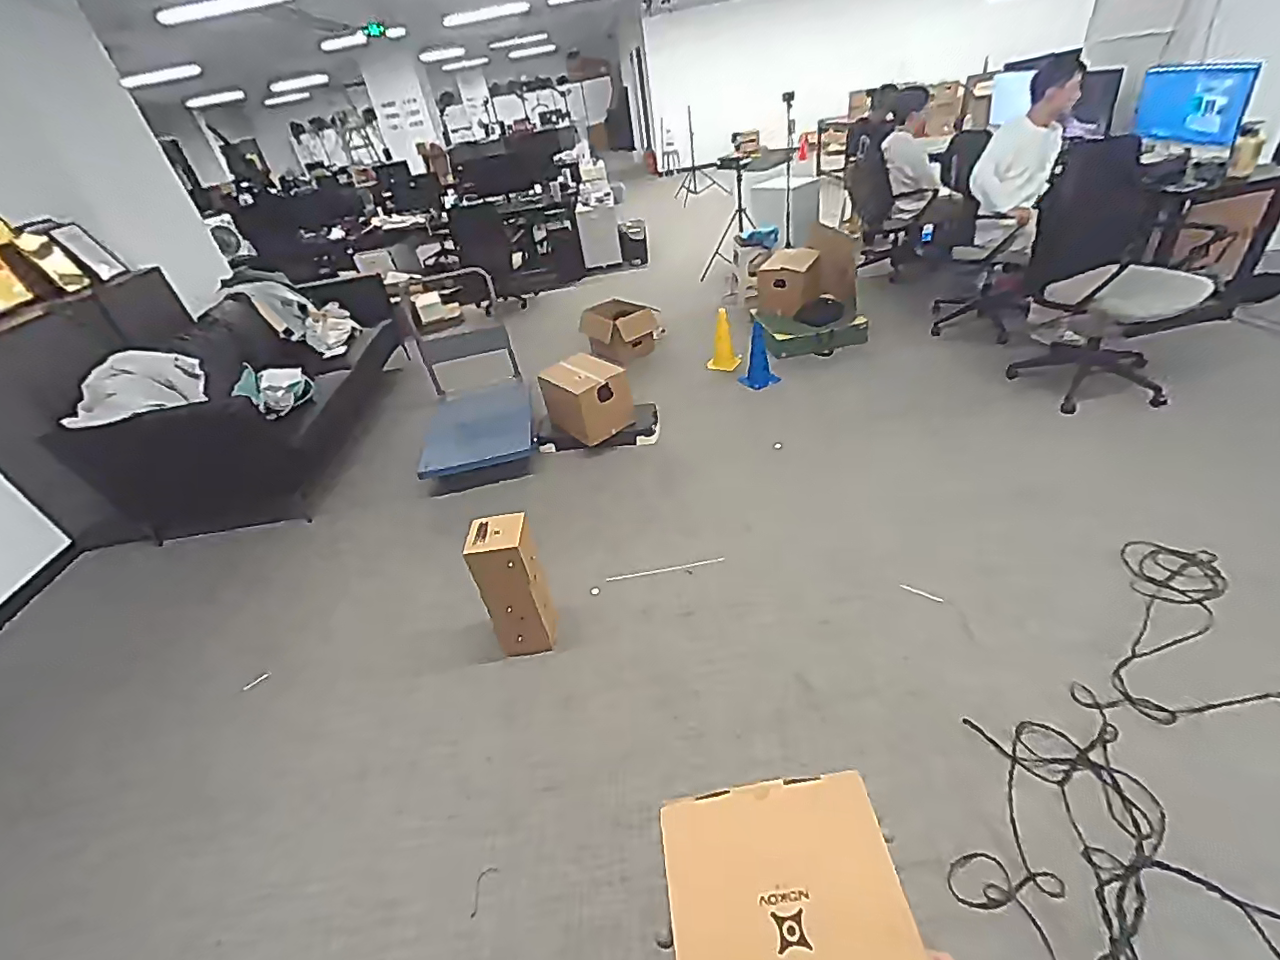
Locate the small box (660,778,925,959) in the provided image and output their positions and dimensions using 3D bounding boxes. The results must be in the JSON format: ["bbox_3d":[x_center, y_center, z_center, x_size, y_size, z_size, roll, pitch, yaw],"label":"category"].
[{"bbox_3d":[0.117,0.367,0.423,0.168,0.176,0.179,-11,41,2],"label":"small box"}]

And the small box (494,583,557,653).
[{"bbox_3d":[-0.399,0.492,1.923,0.179,0.176,0.168,-10,36,3],"label":"small box"}]

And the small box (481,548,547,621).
[{"bbox_3d":[-0.419,0.359,1.828,0.168,0.176,0.179,-8,36,3],"label":"small box"}]
